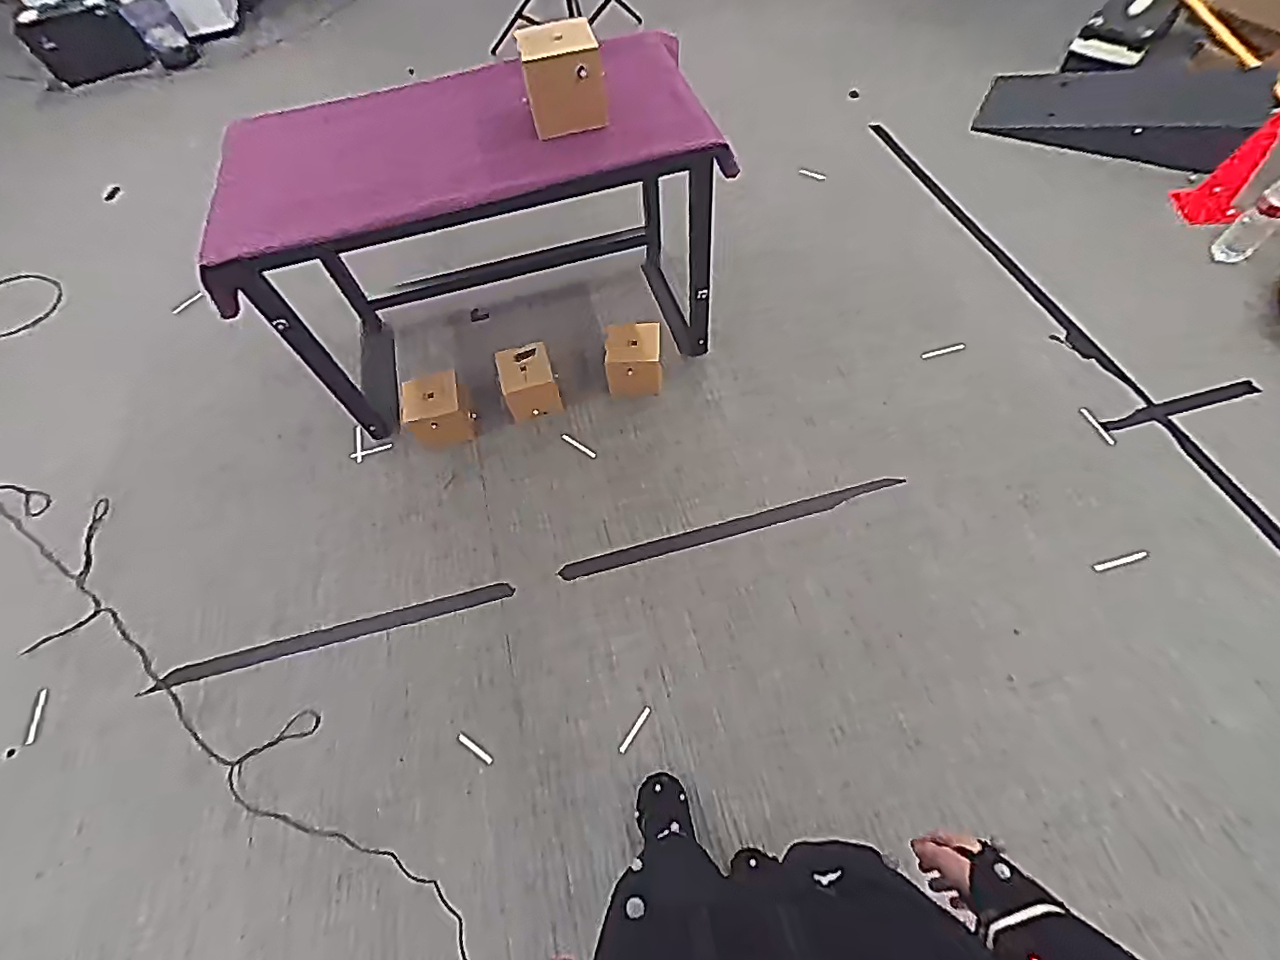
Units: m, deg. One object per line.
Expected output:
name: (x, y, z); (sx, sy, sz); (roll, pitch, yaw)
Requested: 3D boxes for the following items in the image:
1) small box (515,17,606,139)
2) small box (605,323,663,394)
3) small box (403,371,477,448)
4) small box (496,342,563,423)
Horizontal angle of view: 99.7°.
small box: (-0.183, -0.955, 1.291); (0.179, 0.176, 0.168); (-14, 60, -2)
small box: (-0.014, -0.401, 1.805); (0.179, 0.176, 0.168); (-1, 61, 6)
small box: (-0.651, -0.224, 1.763); (0.179, 0.176, 0.168); (-14, 62, -4)
small box: (-0.362, -0.320, 1.789); (0.168, 0.176, 0.179); (-16, 61, -4)
